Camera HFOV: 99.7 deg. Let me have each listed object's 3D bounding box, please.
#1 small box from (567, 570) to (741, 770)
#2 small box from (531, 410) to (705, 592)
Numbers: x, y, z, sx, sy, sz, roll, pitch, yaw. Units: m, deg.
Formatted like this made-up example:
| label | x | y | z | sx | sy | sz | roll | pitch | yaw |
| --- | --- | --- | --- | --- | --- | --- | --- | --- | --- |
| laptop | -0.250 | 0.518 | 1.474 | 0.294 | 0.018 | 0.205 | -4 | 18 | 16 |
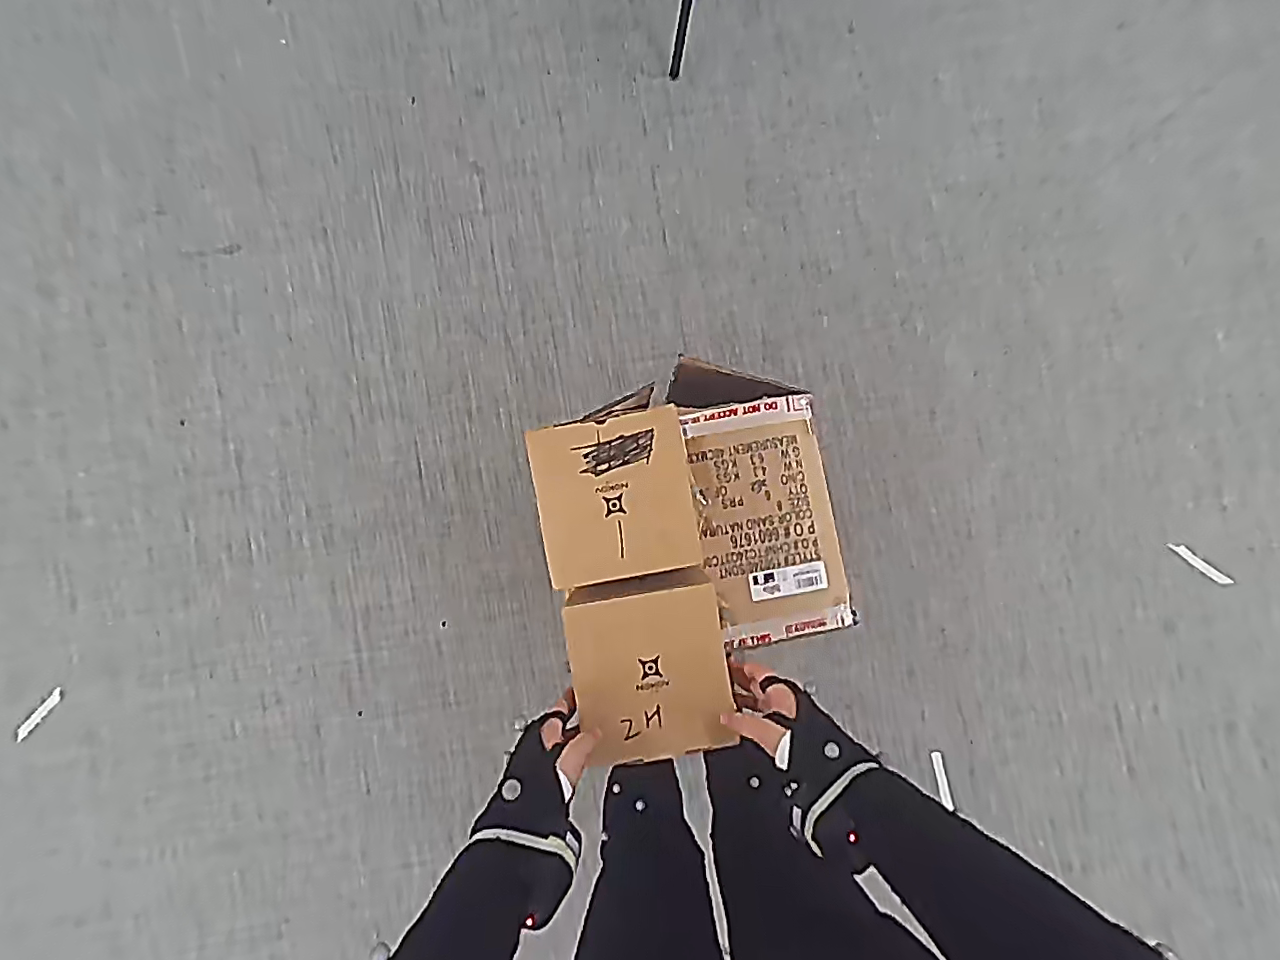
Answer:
| label | x | y | z | sx | sy | sz | roll | pitch | yaw |
| --- | --- | --- | --- | --- | --- | --- | --- | --- | --- |
| small box | 0.013 | 0.210 | 0.652 | 0.168 | 0.176 | 0.179 | -10 | 89 | -1 |
| small box | -0.025 | 0.025 | 0.658 | 0.168 | 0.176 | 0.179 | -10 | 89 | 0 |
